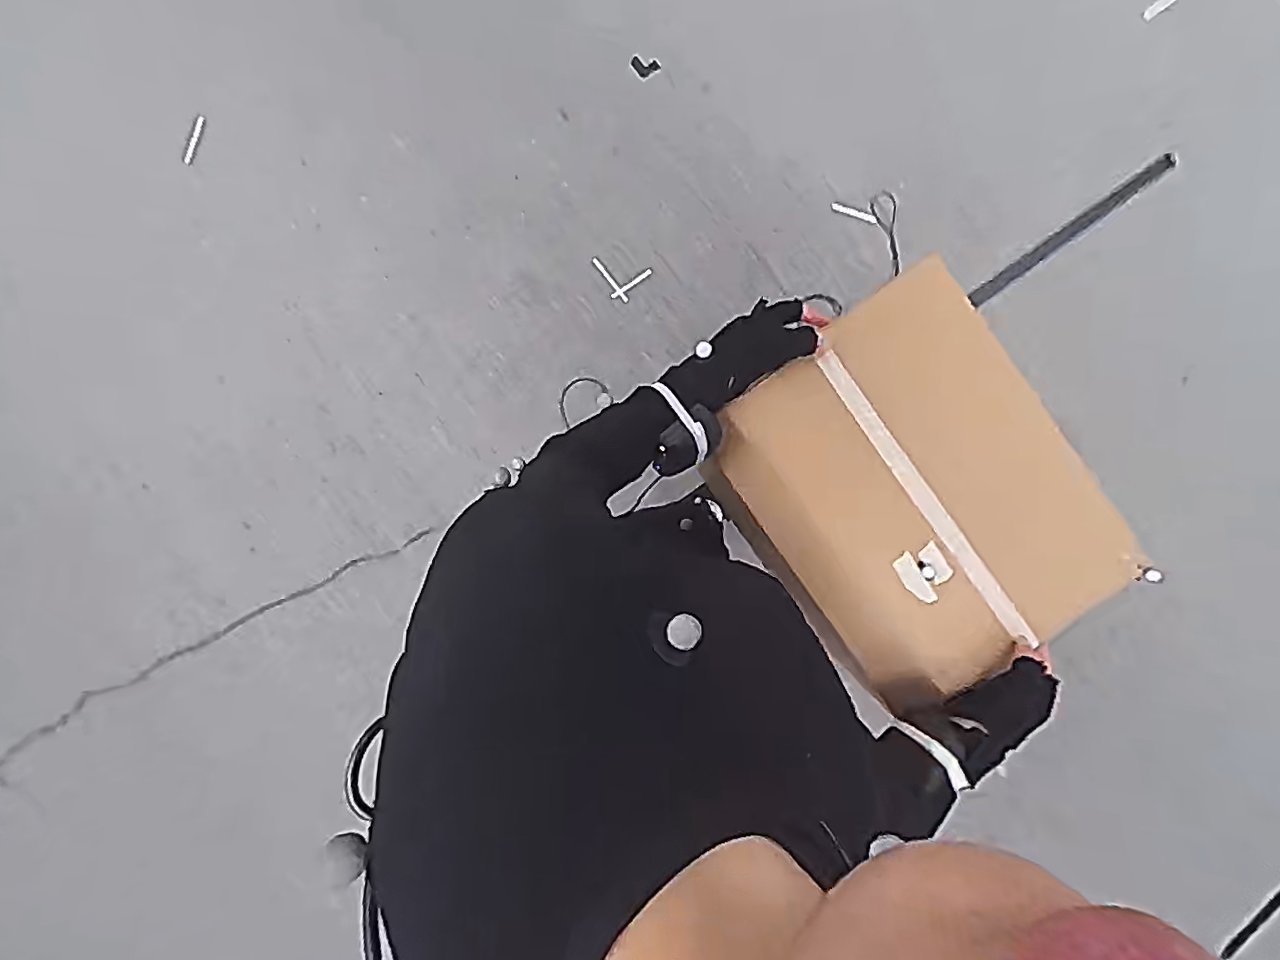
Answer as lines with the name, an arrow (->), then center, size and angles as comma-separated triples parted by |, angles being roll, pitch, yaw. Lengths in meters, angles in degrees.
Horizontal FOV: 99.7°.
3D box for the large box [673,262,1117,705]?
large box -> 0.289, 0.000, 0.741 | 0.320, 0.320, 0.408 | -35, 92, 2
